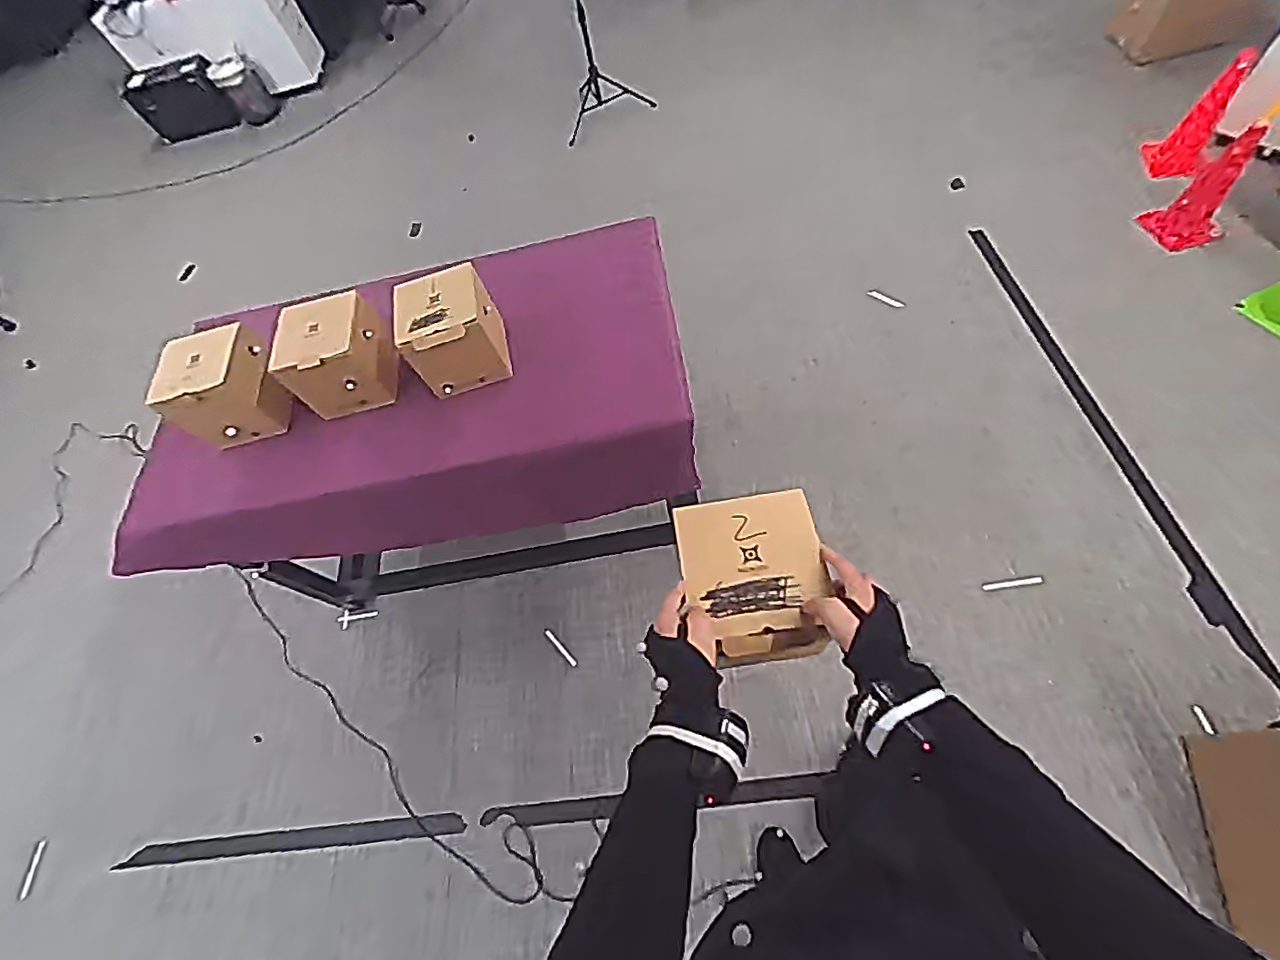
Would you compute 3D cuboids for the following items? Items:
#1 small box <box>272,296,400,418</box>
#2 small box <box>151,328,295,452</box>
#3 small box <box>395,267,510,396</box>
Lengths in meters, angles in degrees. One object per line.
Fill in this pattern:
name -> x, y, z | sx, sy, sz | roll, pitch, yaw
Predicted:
small box -> -0.629, -0.250, 1.142 | 0.168, 0.176, 0.179 | -13, 60, 4
small box -> -0.871, -0.187, 1.154 | 0.168, 0.176, 0.179 | -15, 60, 4
small box -> -0.381, -0.295, 1.115 | 0.168, 0.176, 0.179 | -18, 59, 1
